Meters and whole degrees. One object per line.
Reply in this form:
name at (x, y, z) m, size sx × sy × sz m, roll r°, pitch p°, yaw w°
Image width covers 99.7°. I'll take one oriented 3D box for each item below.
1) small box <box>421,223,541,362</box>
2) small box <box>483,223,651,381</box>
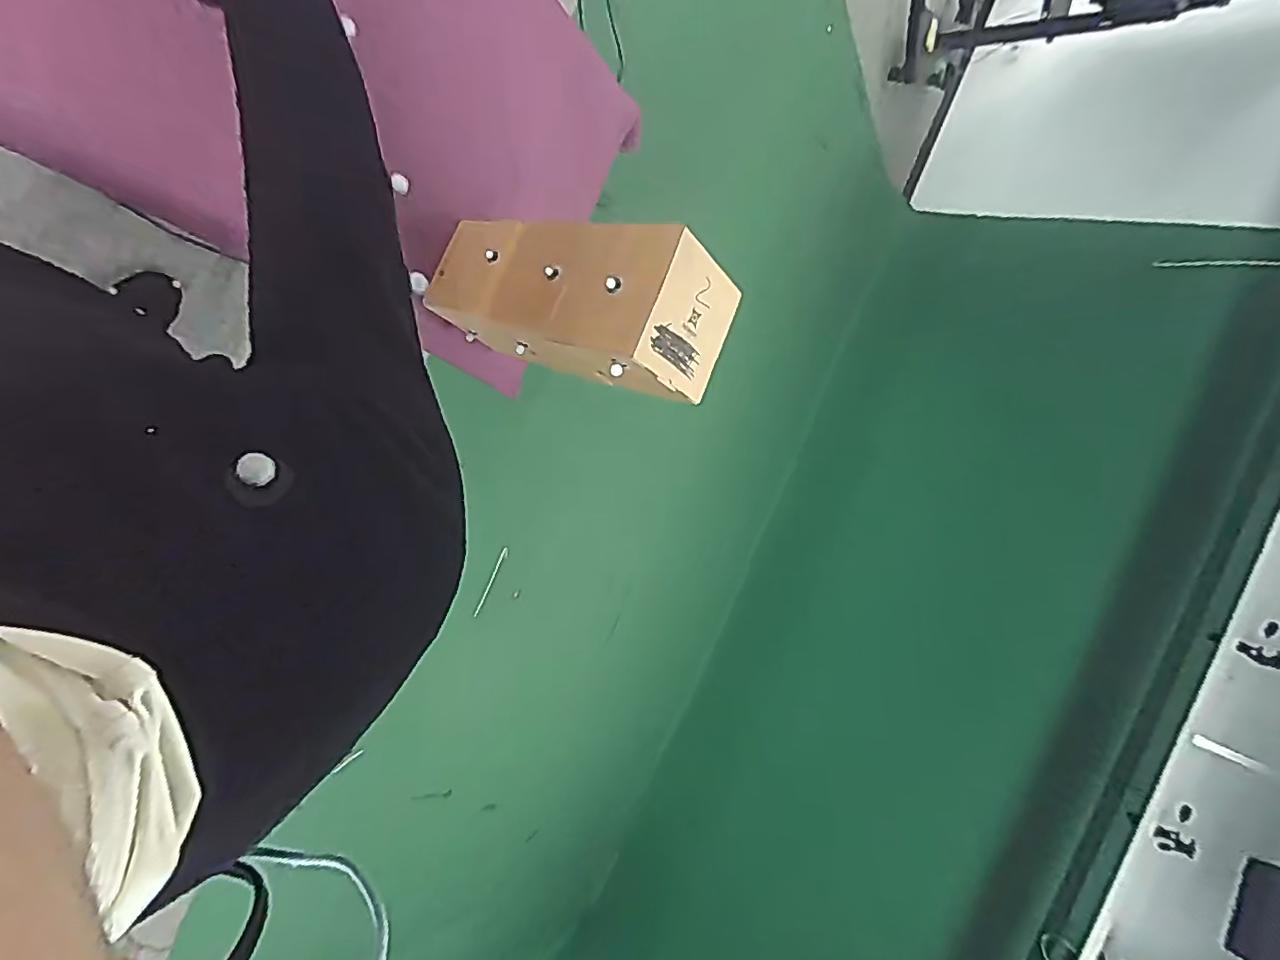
small box at (-0.243, -0.333, 0.952) m, size 0.179 × 0.176 × 0.168 m, roll 28°, pitch 86°, yaw -55°
small box at (-0.118, -0.284, 0.860) m, size 0.168 × 0.176 × 0.179 m, roll 28°, pitch 86°, yaw -53°
